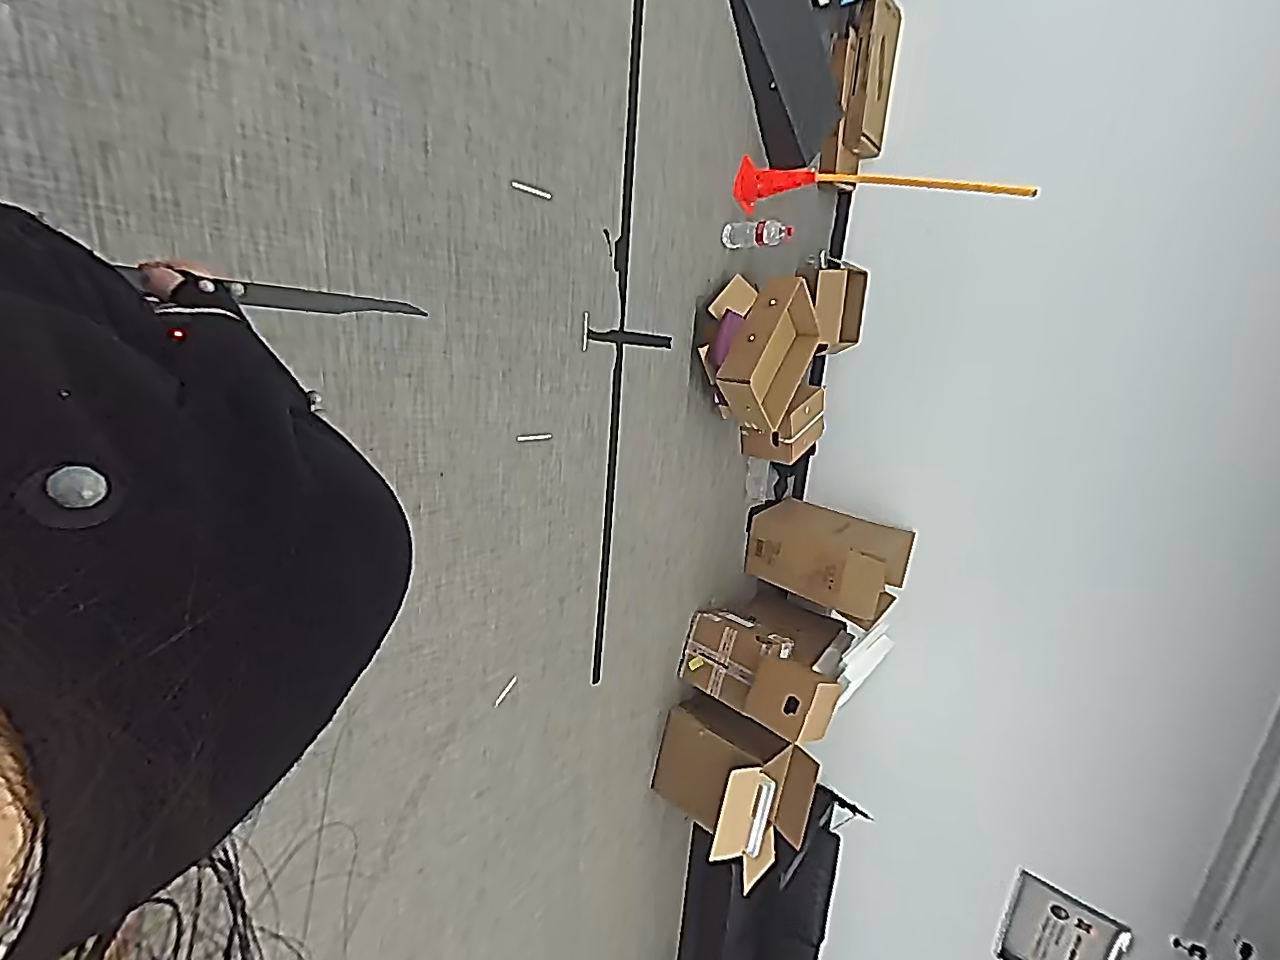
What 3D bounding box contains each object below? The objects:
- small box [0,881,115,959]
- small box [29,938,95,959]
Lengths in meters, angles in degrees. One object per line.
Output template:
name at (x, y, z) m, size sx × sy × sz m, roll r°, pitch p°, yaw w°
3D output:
small box at (-1.247, 0.986, 1.121) m, size 0.168 × 0.176 × 0.179 m, roll -30°, pitch 124°, yaw -43°
small box at (-1.125, 1.029, 1.018) m, size 0.168 × 0.176 × 0.179 m, roll -30°, pitch 125°, yaw -44°
